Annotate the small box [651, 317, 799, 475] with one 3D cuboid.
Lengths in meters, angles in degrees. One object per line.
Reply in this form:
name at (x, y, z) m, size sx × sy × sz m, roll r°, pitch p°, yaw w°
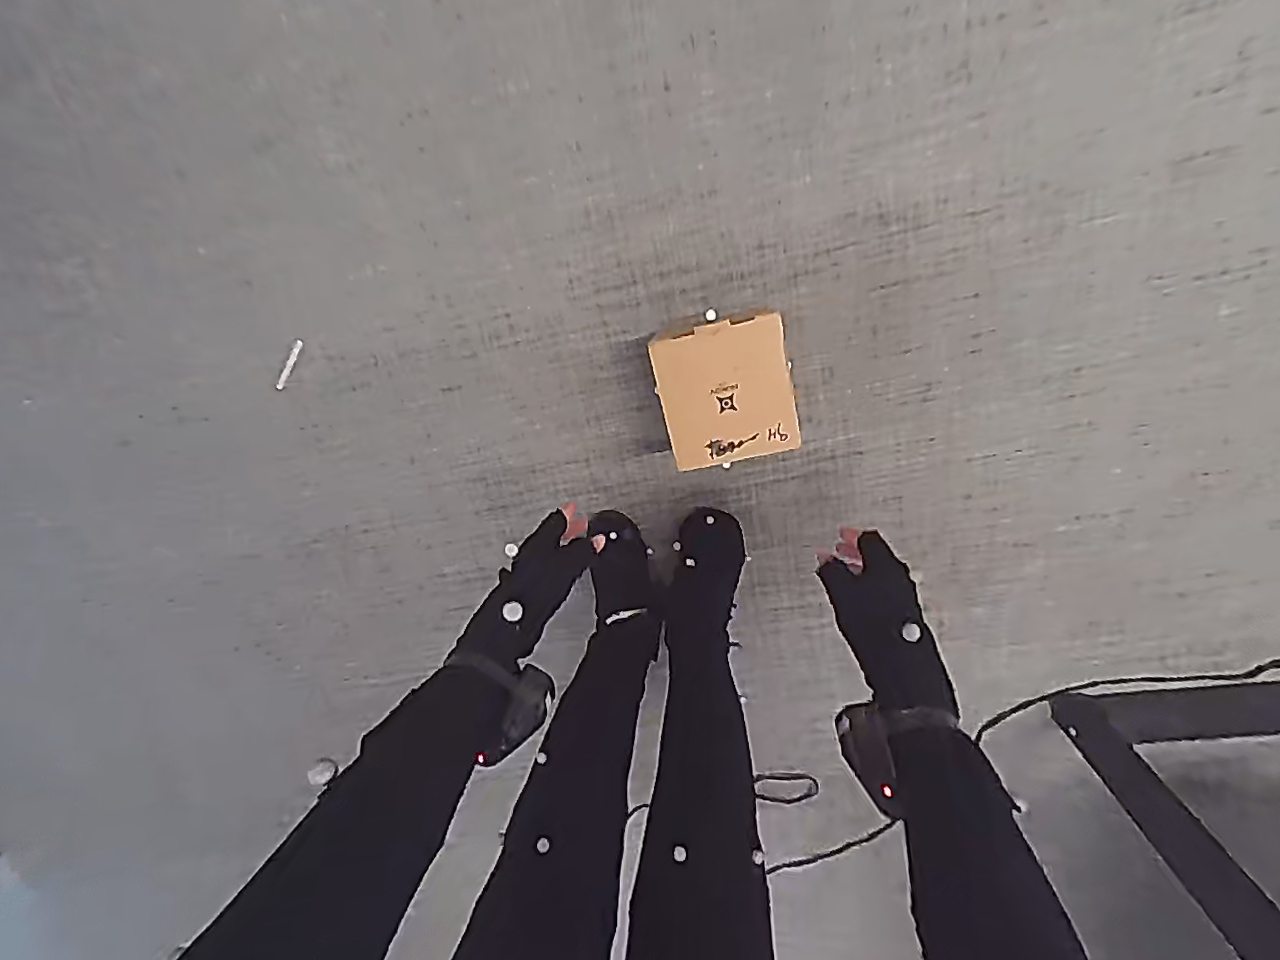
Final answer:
small box at (0.117, -0.125, 0.763) m, size 0.168 × 0.176 × 0.179 m, roll -11°, pitch 107°, yaw 11°
